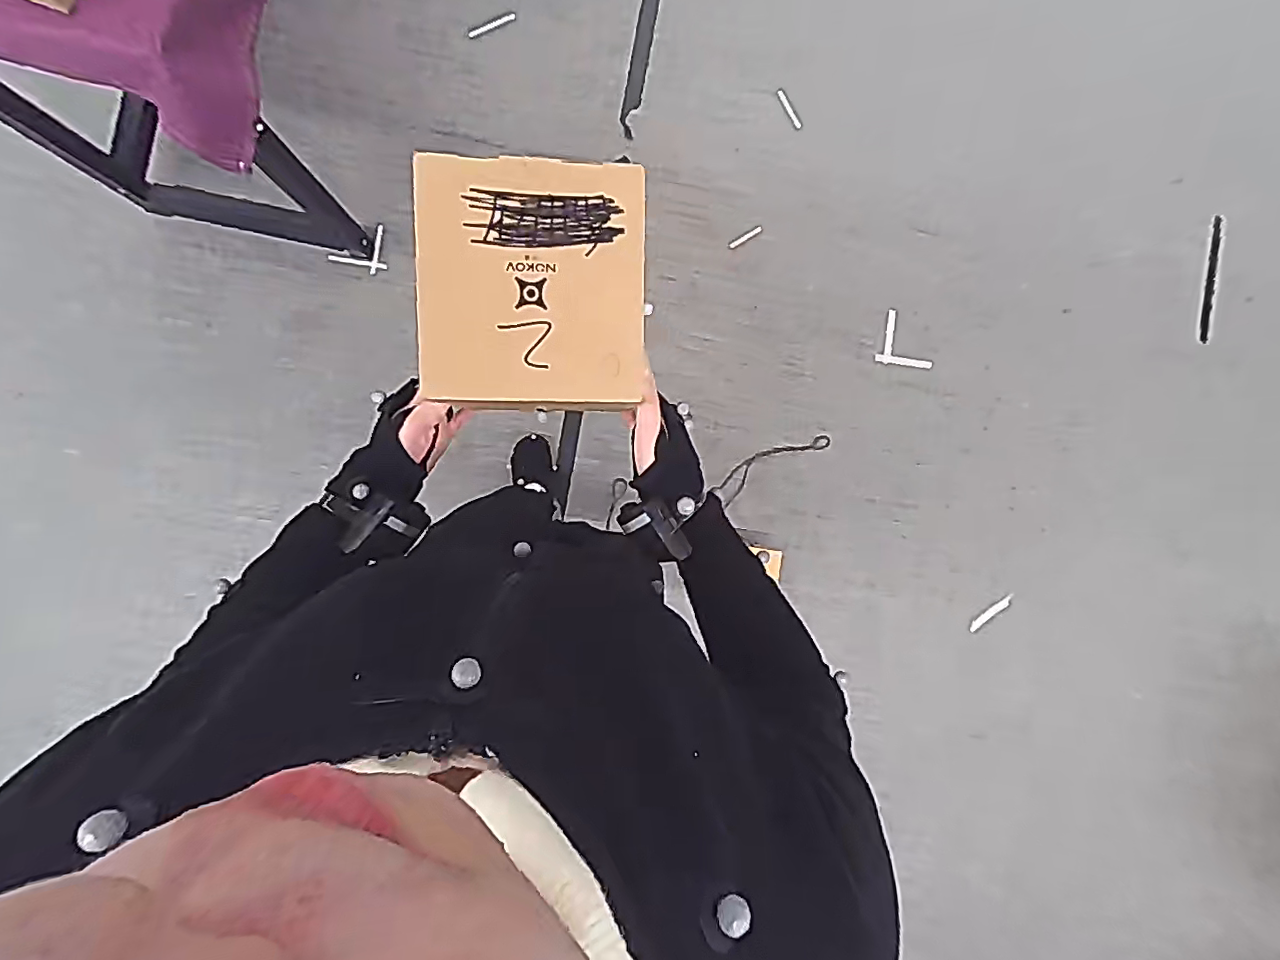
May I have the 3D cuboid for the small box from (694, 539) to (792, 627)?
[{"bbox_3d":[0.267,0.267,1.417,0.179,0.176,0.168,2,109,-23],"label":"small box"}]
